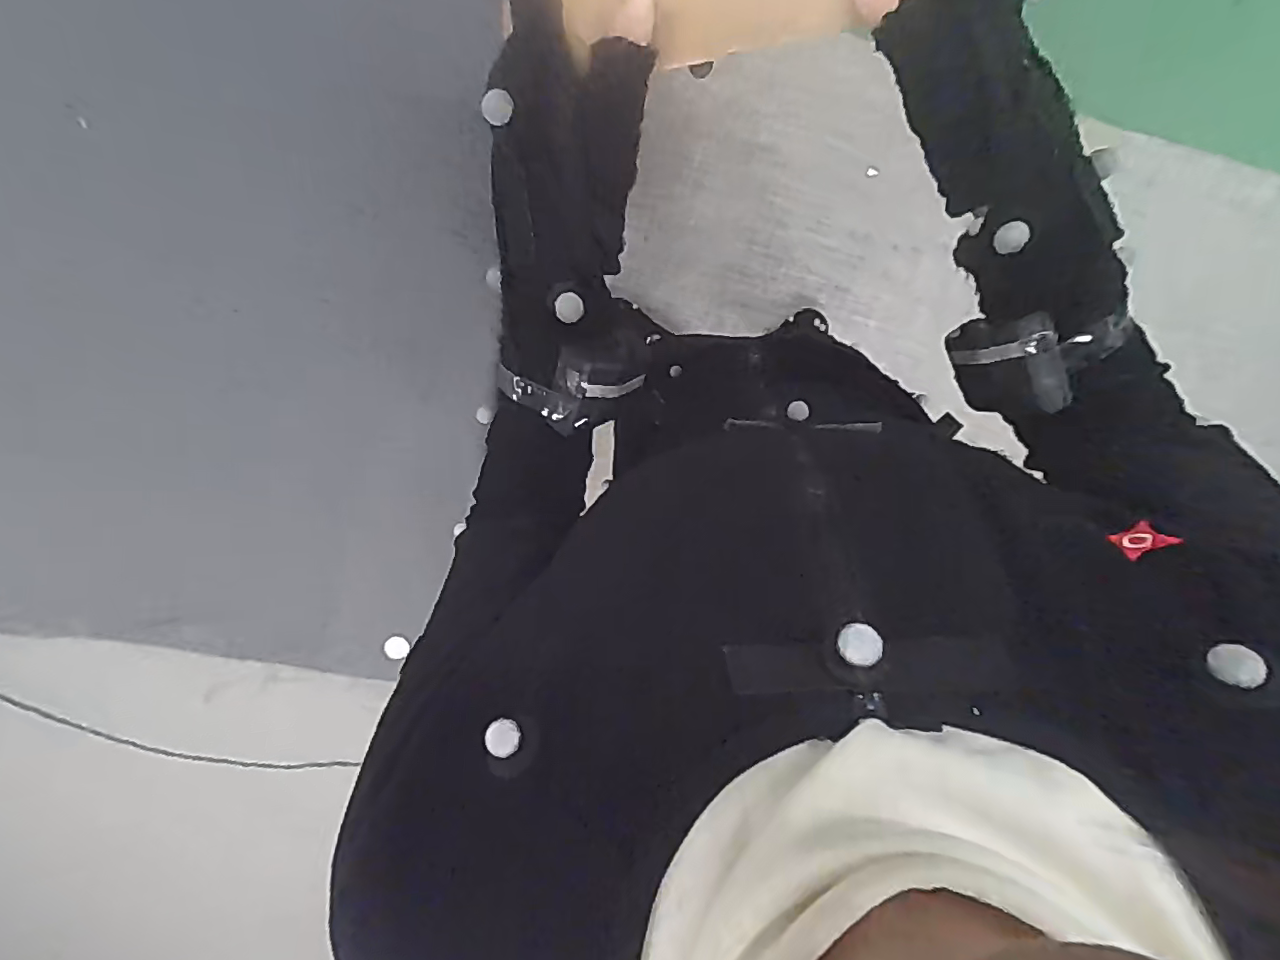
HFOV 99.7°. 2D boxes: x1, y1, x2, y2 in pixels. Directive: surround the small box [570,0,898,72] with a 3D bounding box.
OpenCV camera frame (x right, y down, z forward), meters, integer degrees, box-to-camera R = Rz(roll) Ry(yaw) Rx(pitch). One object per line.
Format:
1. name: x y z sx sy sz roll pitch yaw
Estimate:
1. small box: 0.042 -0.329 0.276 0.179 0.176 0.168 -10 130 7
